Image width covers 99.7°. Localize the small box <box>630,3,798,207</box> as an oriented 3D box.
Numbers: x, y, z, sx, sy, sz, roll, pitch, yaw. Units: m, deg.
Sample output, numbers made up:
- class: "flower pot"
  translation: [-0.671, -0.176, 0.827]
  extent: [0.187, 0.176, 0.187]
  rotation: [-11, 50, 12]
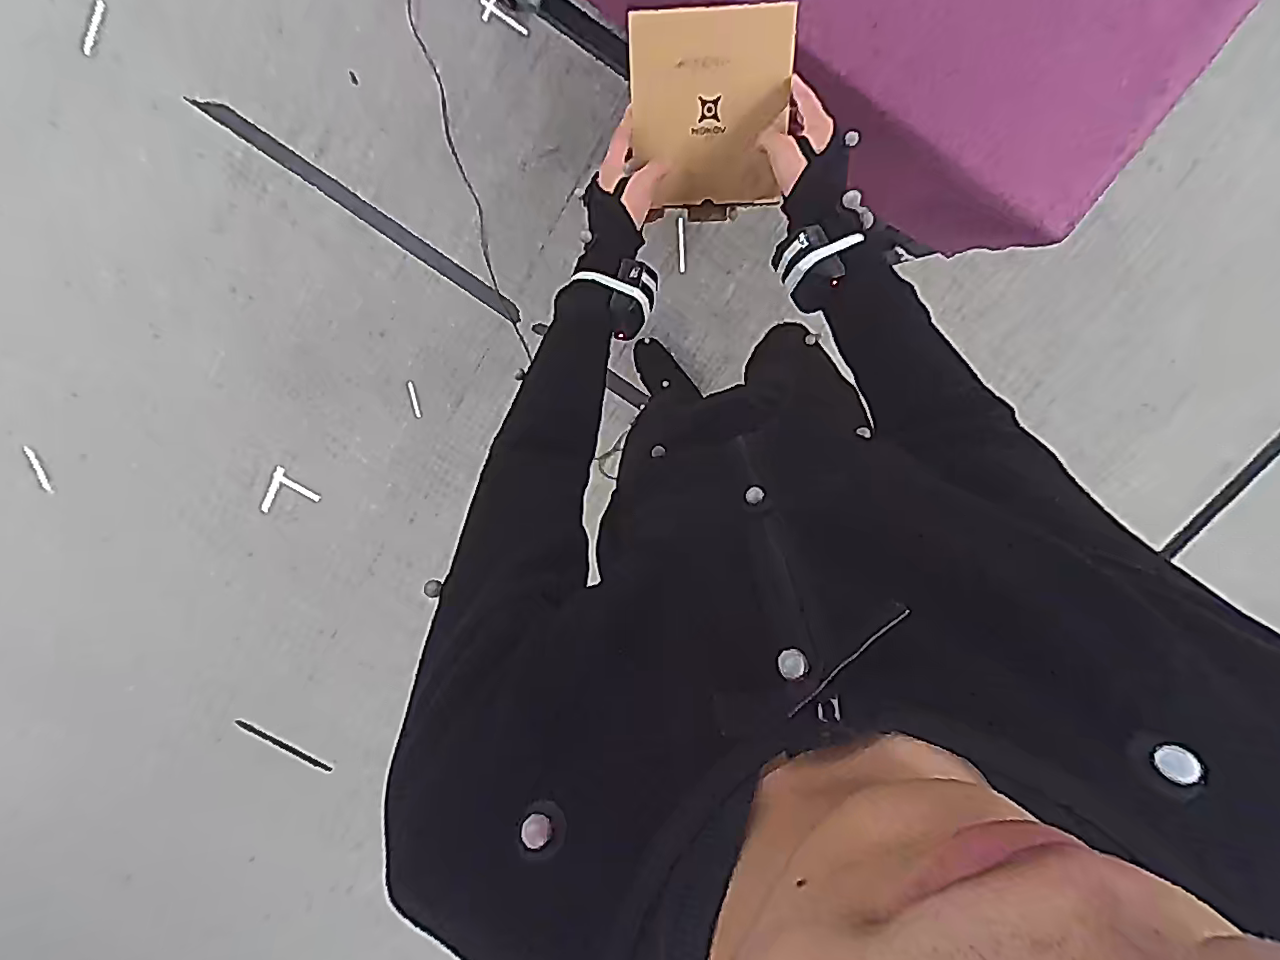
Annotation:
- class: "small box"
  translation: [0.077, -0.422, 0.634]
  extent: [0.168, 0.176, 0.179]
  rotation: [0, 117, 2]
